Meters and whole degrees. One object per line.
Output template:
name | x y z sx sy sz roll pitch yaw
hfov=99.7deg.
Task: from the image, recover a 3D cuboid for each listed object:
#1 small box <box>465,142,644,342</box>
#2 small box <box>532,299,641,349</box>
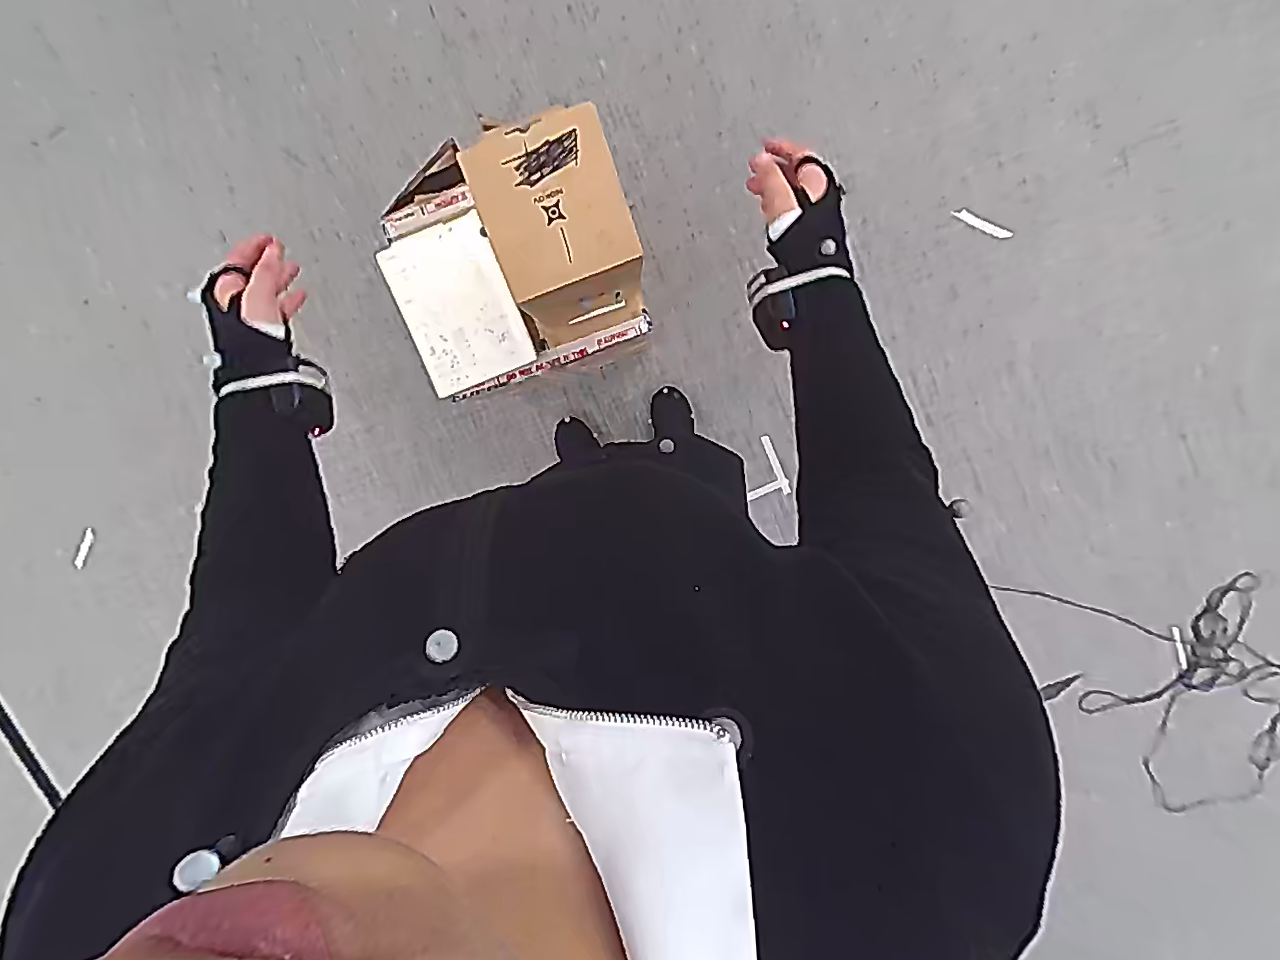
small box | -0.102 -0.294 0.709 0.168 0.176 0.179 -20 101 2
small box | -0.110 -0.322 0.871 0.179 0.176 0.168 -23 100 3
